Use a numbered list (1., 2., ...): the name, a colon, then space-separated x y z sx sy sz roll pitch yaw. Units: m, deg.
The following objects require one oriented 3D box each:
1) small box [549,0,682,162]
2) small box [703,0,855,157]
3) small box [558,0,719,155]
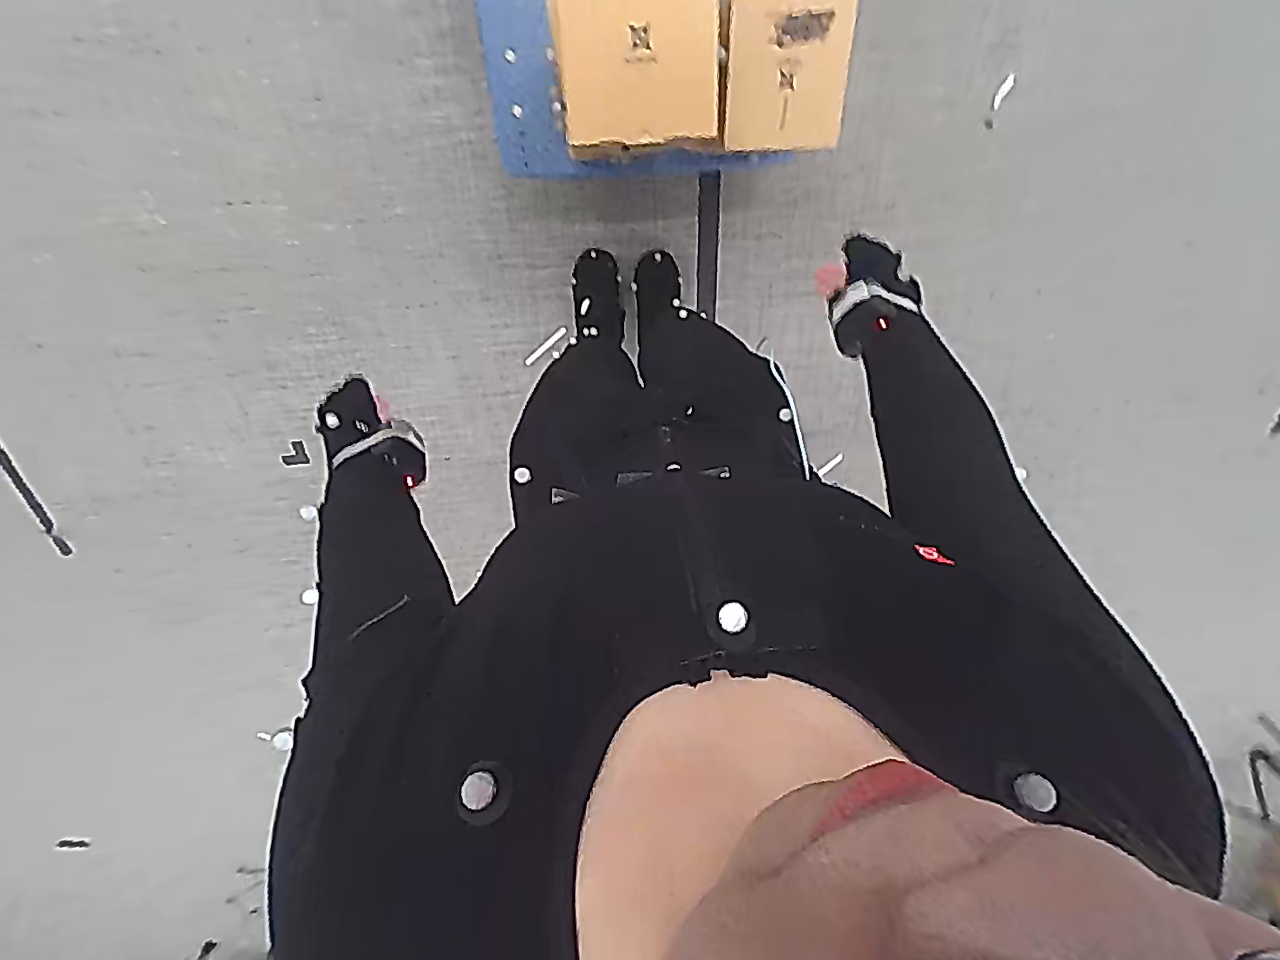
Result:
1. small box: -0.032 -0.567 0.776 0.168 0.176 0.179 -8 121 -2
2. small box: 0.188 -0.580 0.793 0.168 0.176 0.179 -3 120 -4
3. small box: -0.007 -0.490 0.634 0.168 0.176 0.179 -6 120 -3
